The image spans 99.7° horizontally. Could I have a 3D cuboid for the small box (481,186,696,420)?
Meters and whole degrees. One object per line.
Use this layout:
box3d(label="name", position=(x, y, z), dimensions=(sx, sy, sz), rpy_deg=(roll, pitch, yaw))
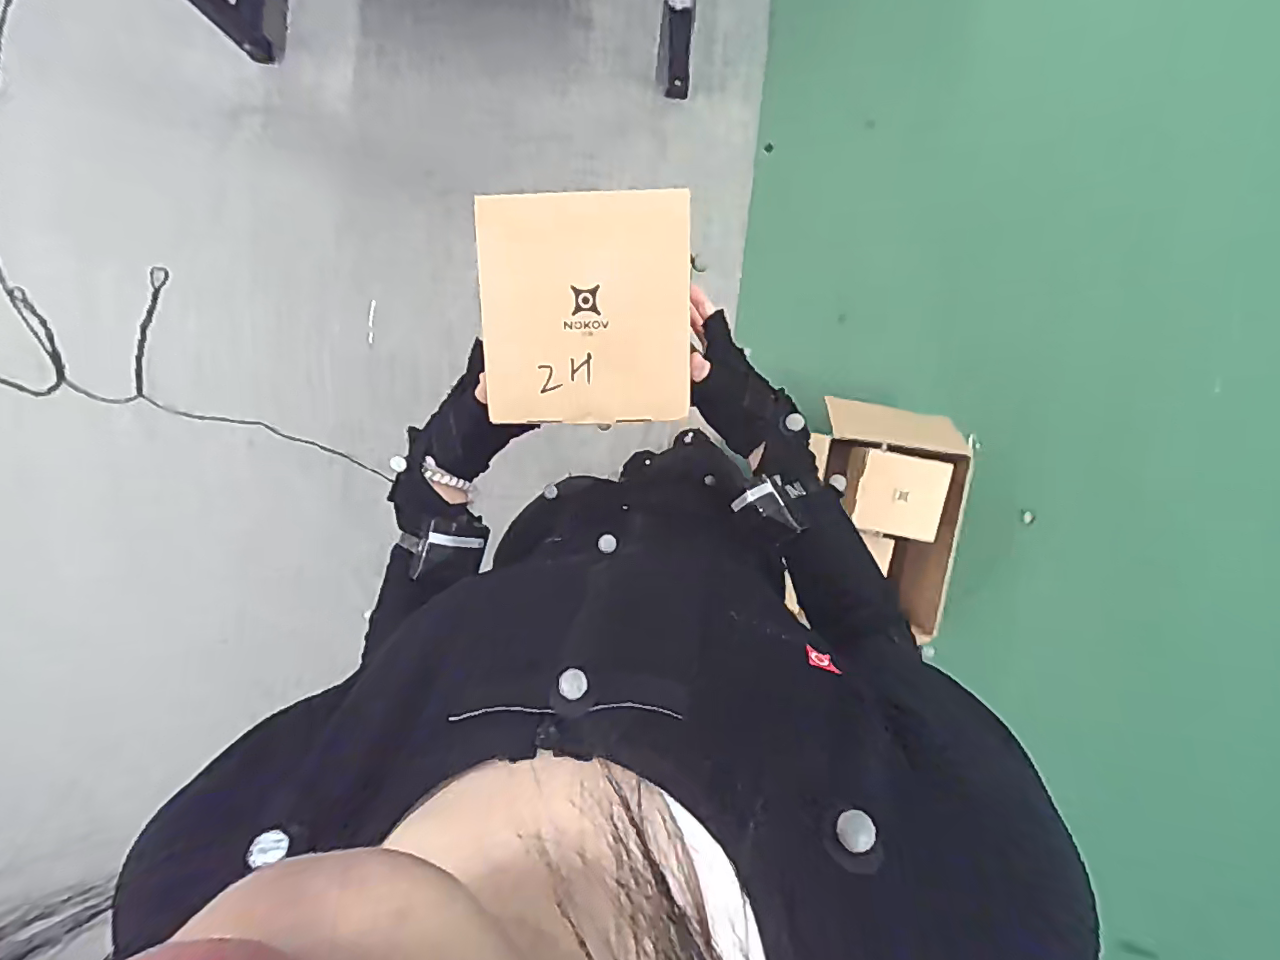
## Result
box3d(label="small box", position=(-0.037, -0.149, 0.500), dimensions=(0.168, 0.176, 0.179), rpy_deg=(-1, 101, 3))
